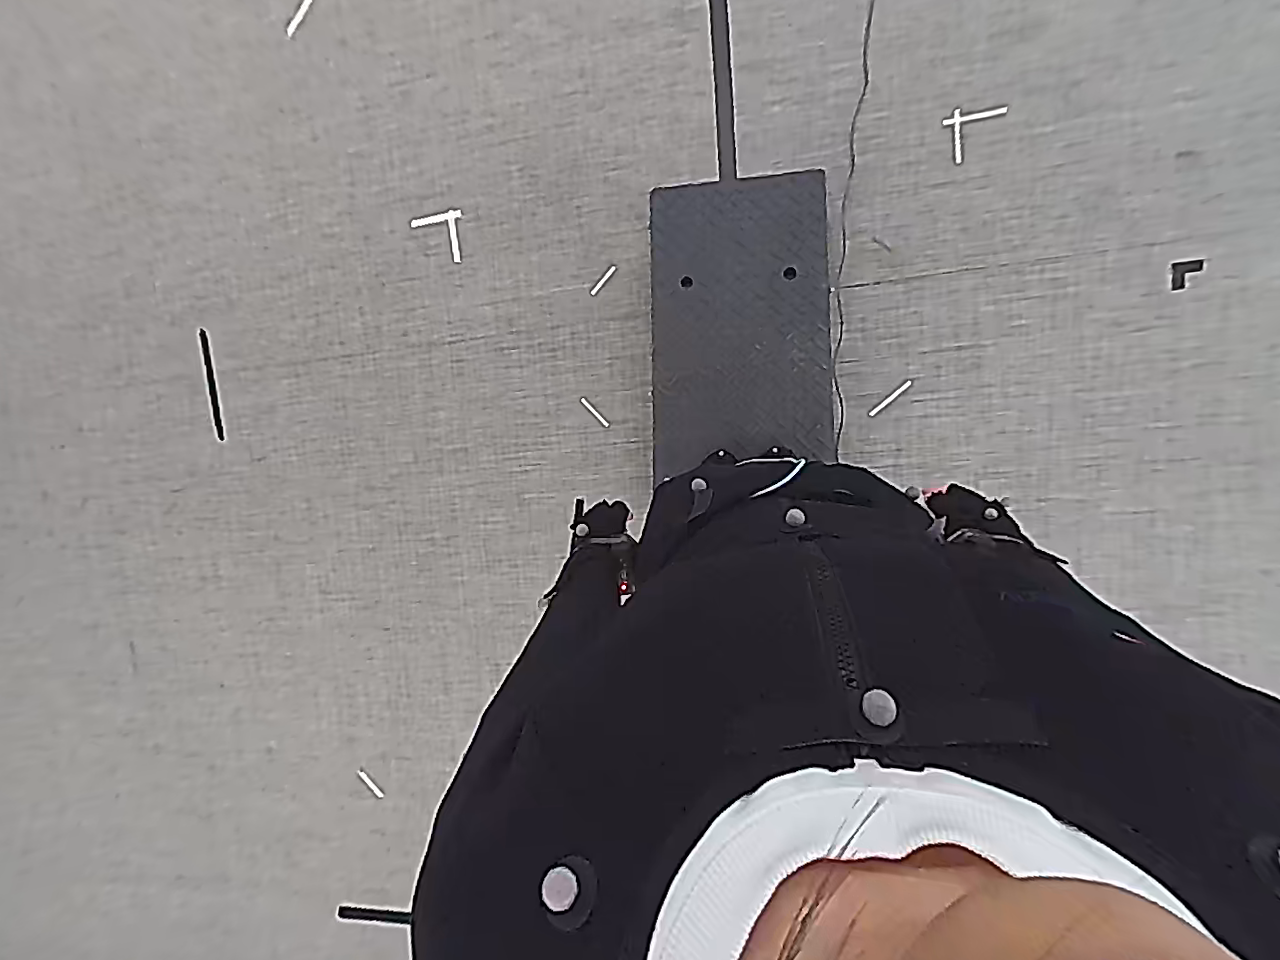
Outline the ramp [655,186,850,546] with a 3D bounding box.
[{"bbox_3d":[0.294,-0.322,1.513,0.509,0.206,0.991,-5,93,12],"label":"ramp"}]
